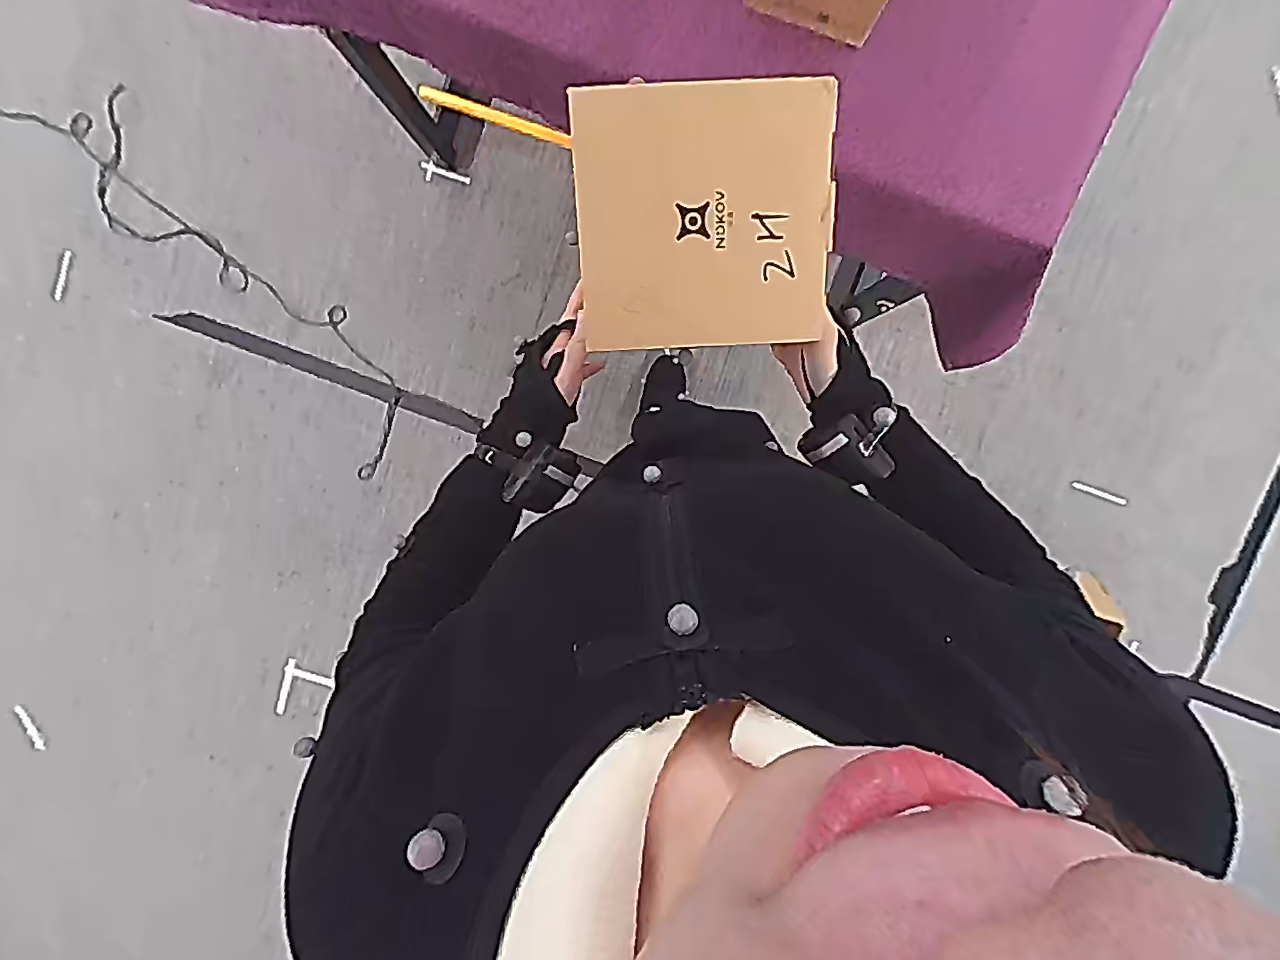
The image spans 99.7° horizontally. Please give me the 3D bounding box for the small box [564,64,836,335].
[{"bbox_3d":[0.039,-0.205,0.441,0.179,0.176,0.168,-3,107,-2],"label":"small box"}]

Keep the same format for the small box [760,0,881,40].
[{"bbox_3d":[0.232,-0.657,0.608,0.168,0.176,0.179,19,95,-1],"label":"small box"}]
